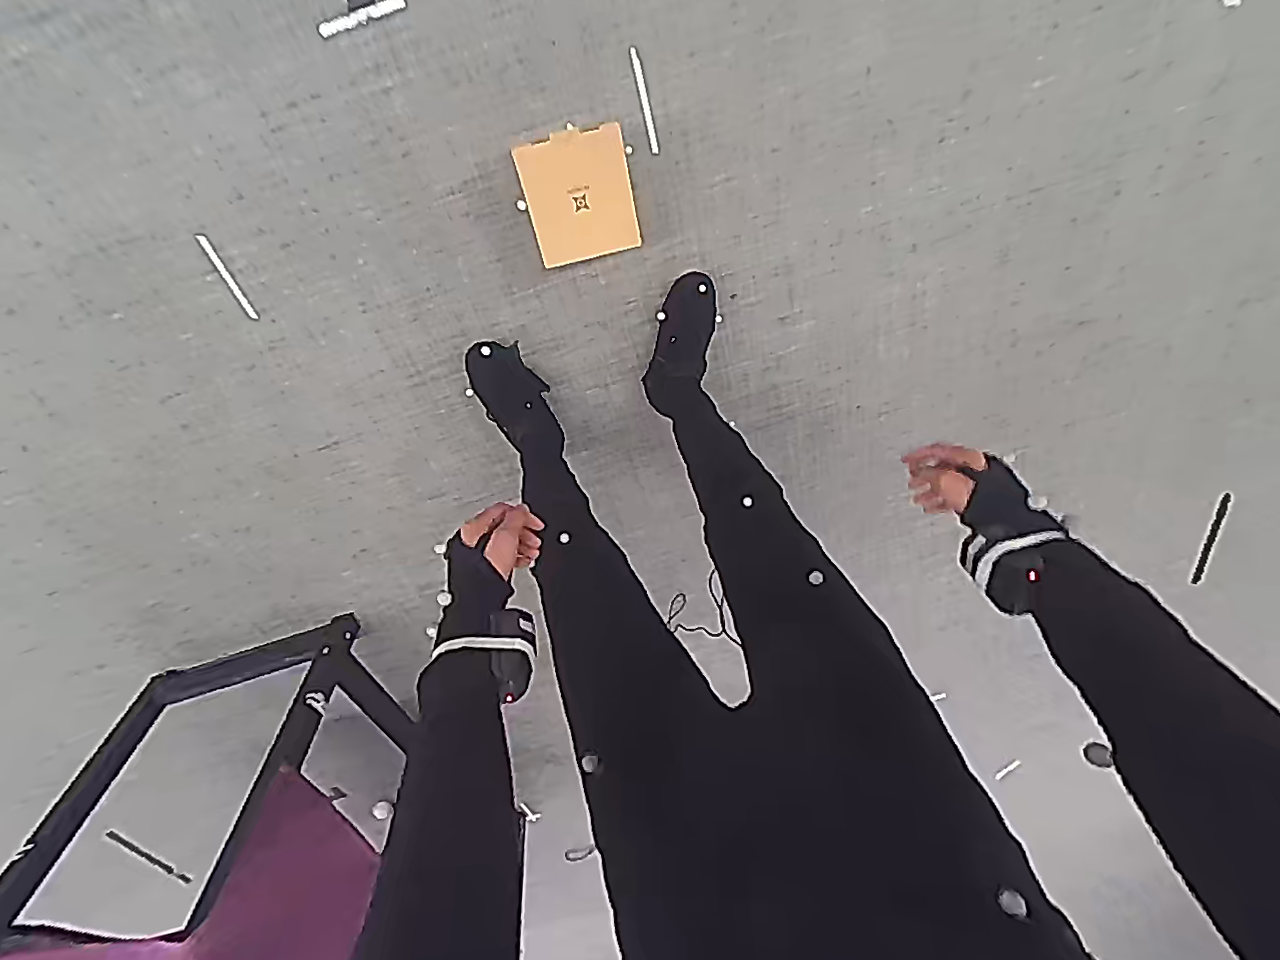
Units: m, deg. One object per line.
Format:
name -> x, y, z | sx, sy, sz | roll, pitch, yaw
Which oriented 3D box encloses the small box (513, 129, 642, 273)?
small box -> -0.100, -0.470, 0.905 | 0.168, 0.176, 0.179 | -14, 122, 0
